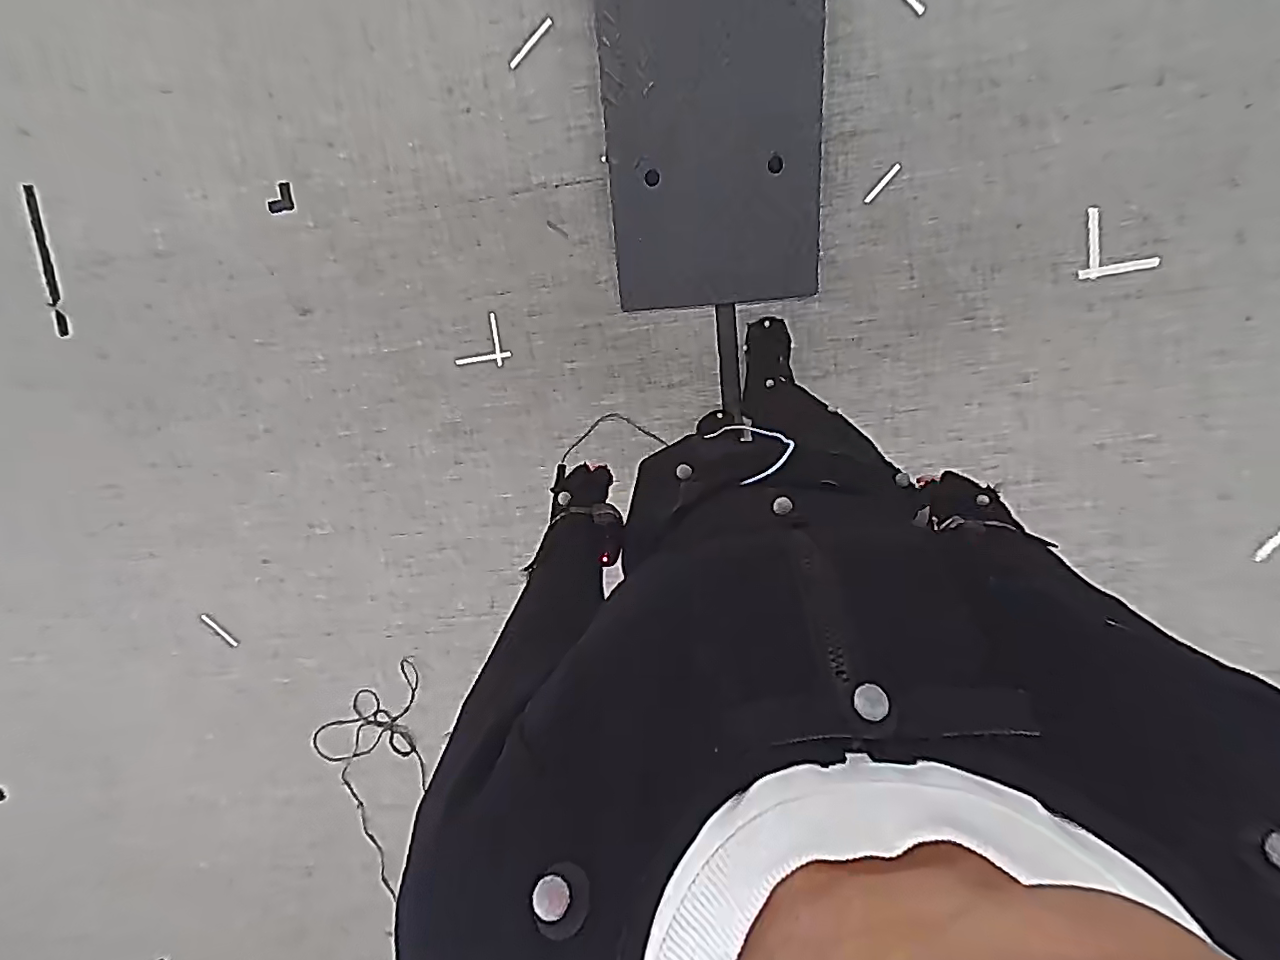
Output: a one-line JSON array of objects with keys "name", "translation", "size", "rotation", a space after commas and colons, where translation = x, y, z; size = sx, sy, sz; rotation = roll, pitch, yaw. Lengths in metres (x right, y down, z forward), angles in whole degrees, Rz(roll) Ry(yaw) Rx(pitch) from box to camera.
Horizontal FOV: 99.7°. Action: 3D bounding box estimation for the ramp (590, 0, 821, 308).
[{"name": "ramp", "translation": [0.147, -0.918, 1.189], "size": [0.509, 0.206, 0.991], "rotation": [-5, 100, 5]}]
